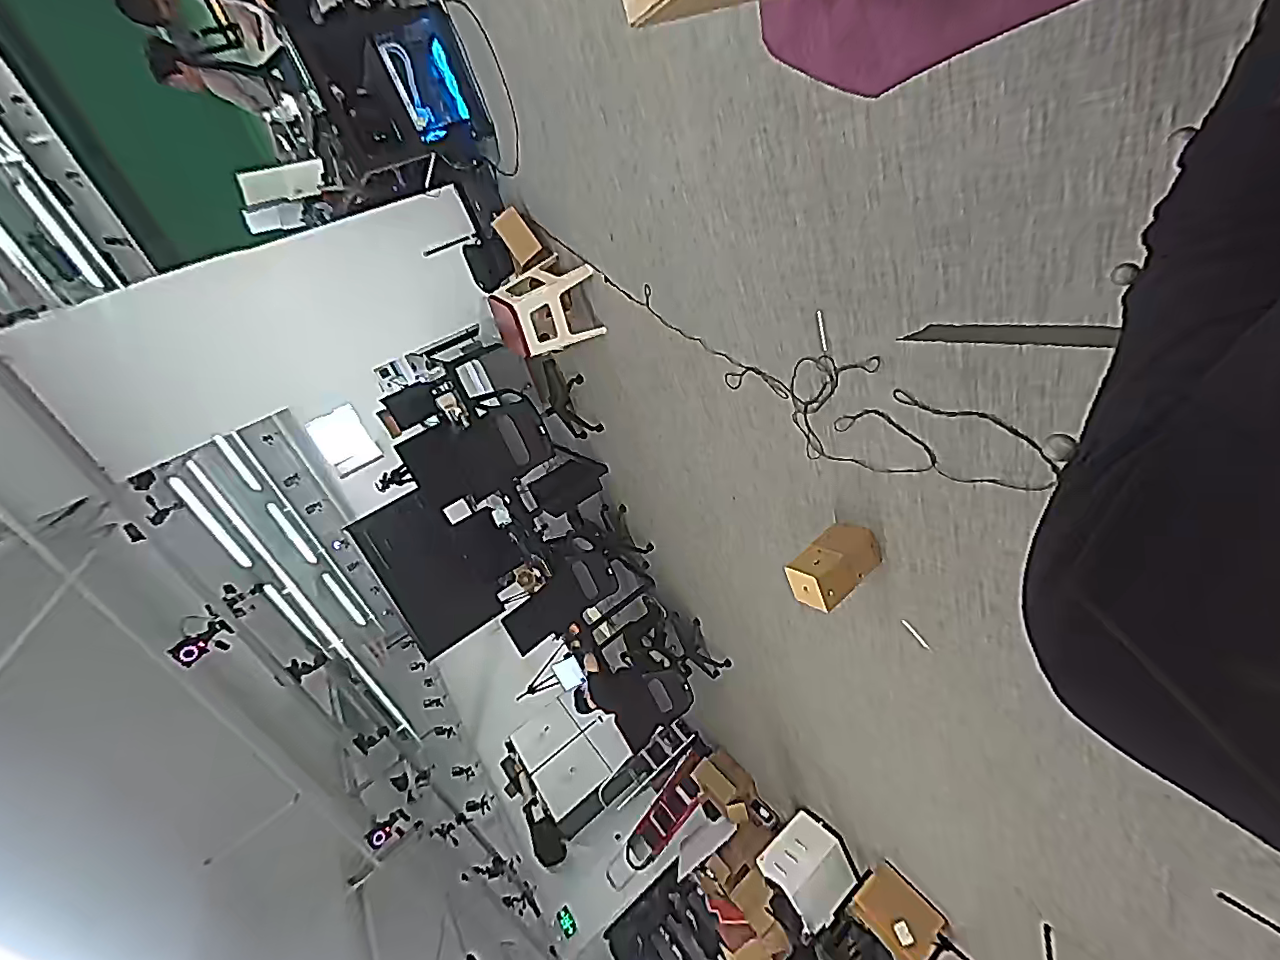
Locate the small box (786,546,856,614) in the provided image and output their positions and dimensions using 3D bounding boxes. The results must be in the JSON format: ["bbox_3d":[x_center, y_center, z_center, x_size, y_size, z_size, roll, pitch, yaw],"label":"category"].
[{"bbox_3d":[0.707,0.381,2.106,0.168,0.176,0.179,14,134,60],"label":"small box"}]
